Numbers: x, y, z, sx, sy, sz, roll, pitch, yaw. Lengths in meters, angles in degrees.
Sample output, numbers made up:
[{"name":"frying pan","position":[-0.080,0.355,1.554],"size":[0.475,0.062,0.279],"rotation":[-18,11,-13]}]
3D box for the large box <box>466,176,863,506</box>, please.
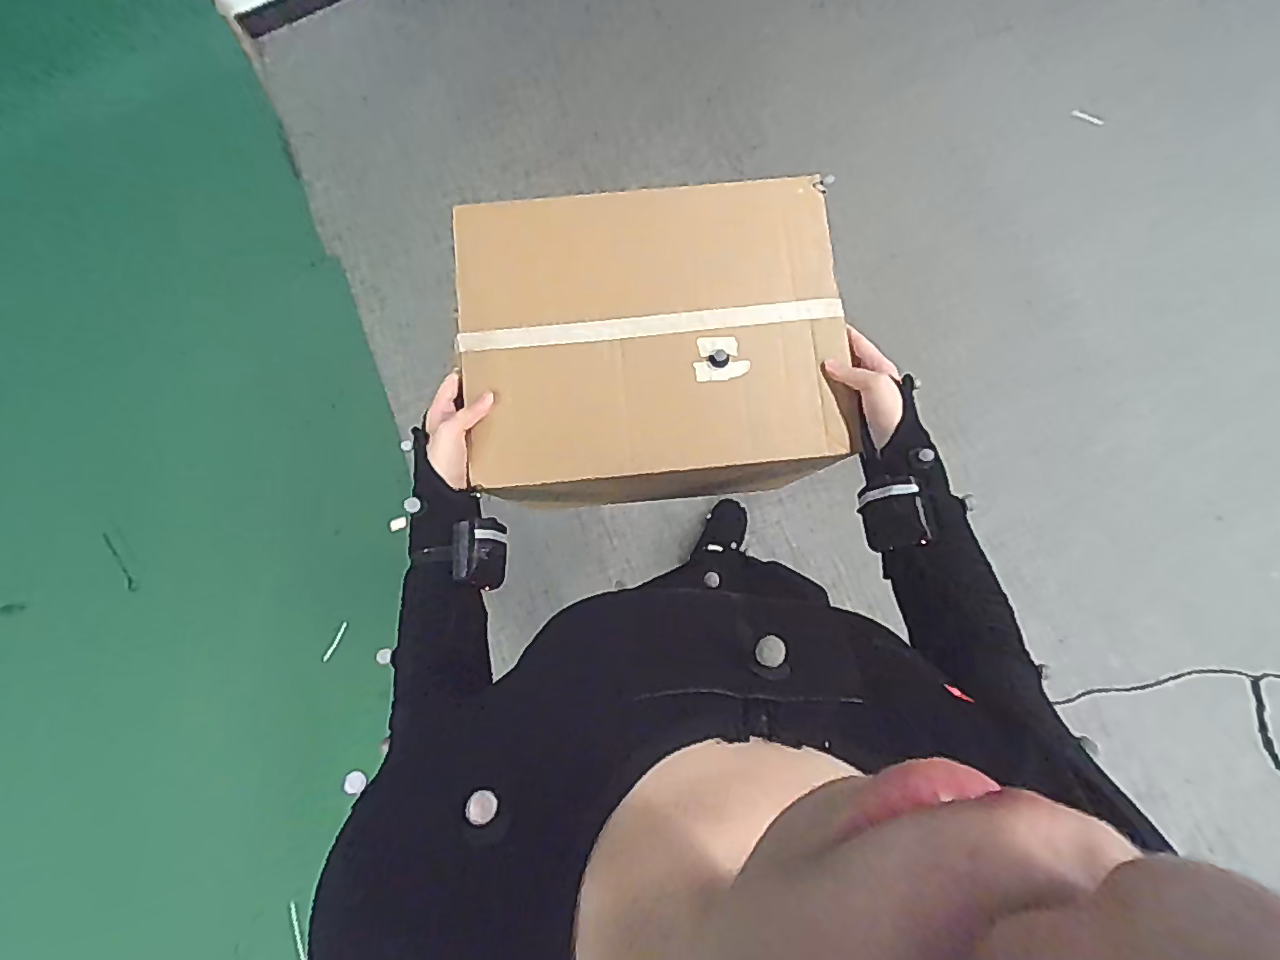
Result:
[{"name":"large box","position":[0.016,-0.149,0.722],"size":[0.408,0.320,0.320],"rotation":[-5,83,-2]}]
